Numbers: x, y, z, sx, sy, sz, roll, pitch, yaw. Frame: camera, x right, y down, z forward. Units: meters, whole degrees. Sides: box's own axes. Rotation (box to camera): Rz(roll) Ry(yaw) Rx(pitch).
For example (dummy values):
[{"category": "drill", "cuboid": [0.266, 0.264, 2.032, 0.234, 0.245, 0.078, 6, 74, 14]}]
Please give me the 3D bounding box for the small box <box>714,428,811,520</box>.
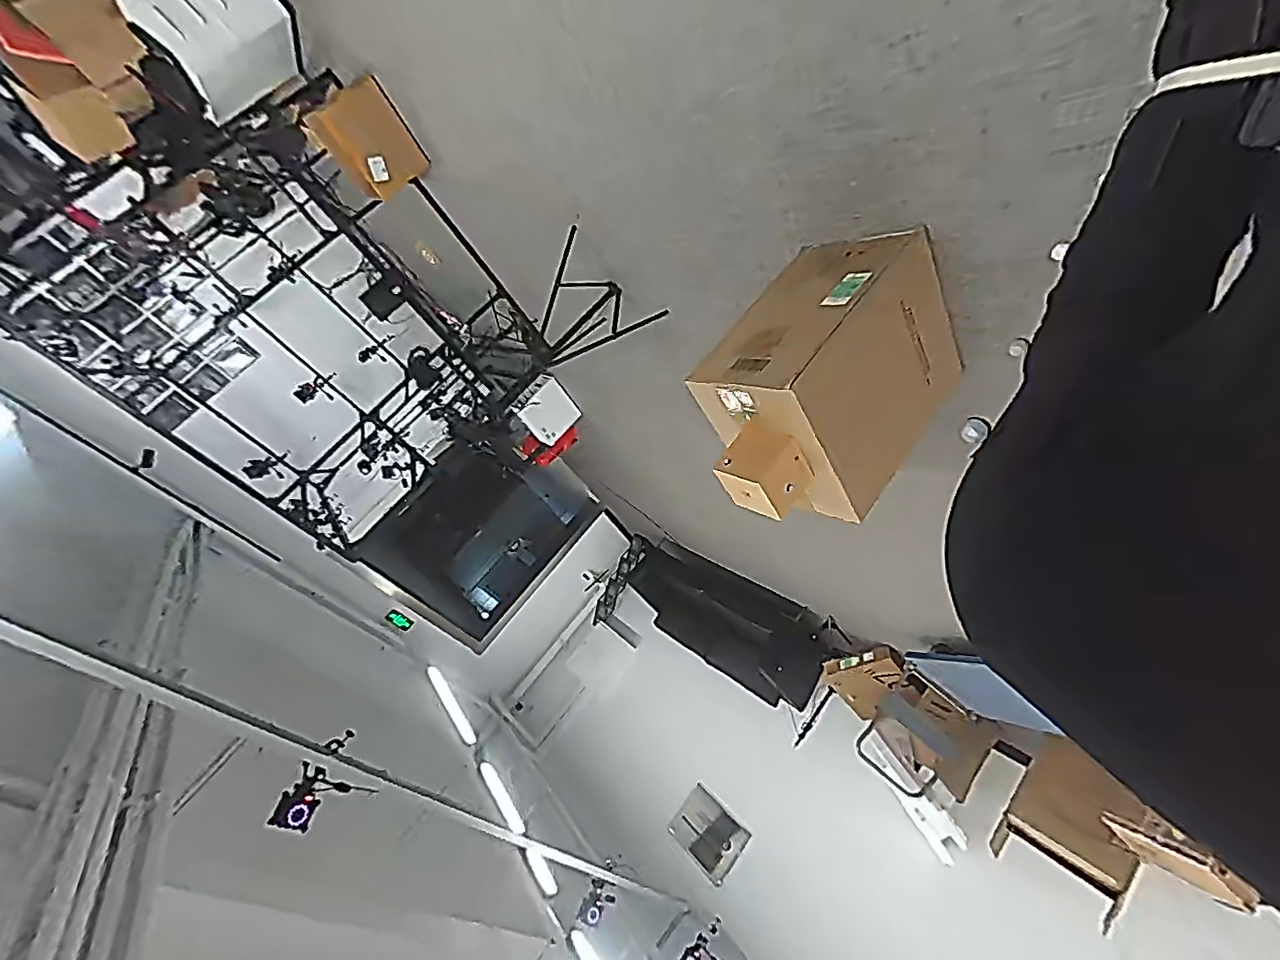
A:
[{"category": "small box", "cuboid": [0.341, -0.023, 1.467, 0.179, 0.176, 0.168, 23, 158, 52]}]
